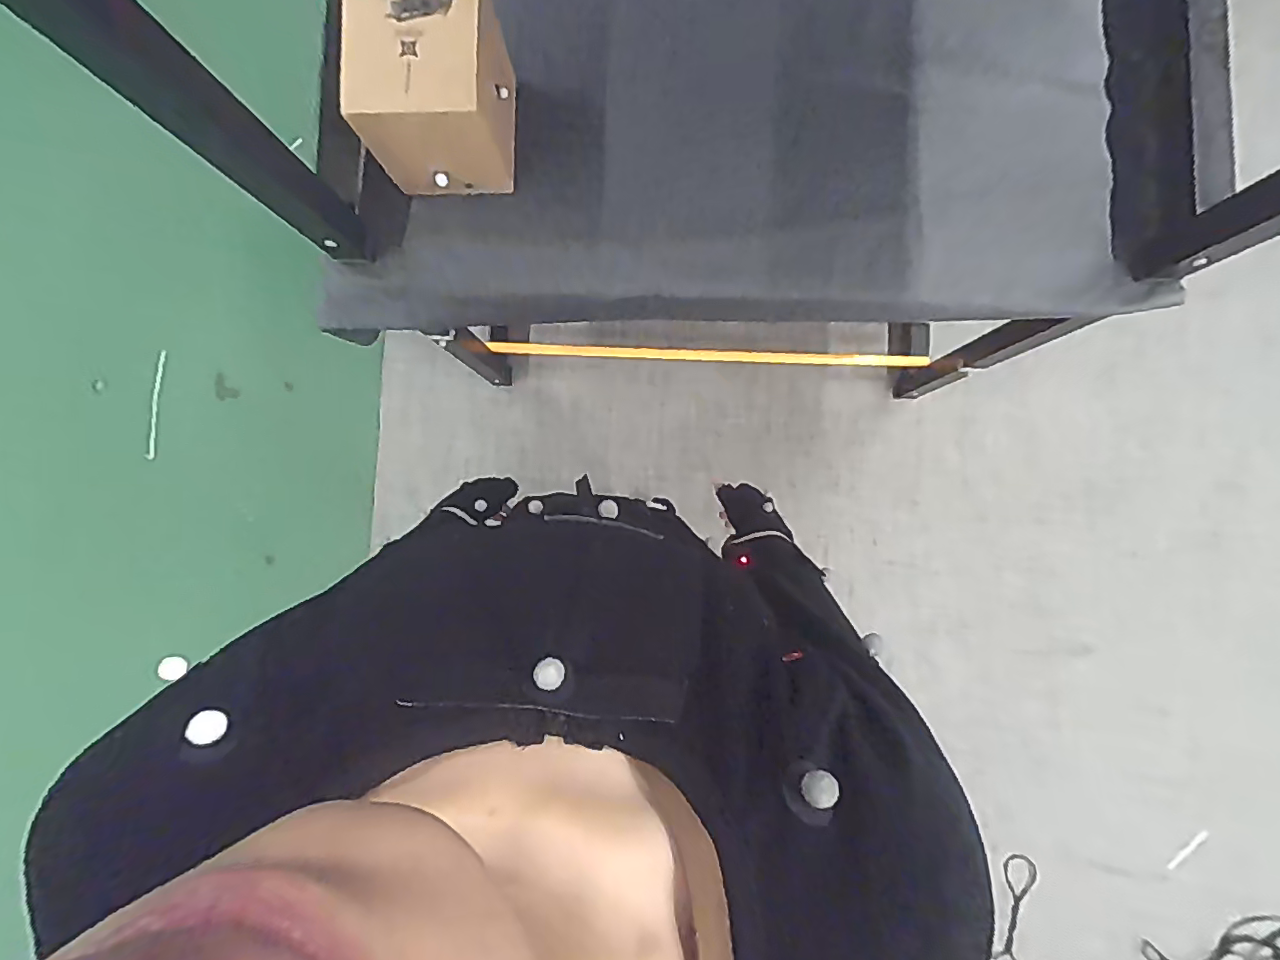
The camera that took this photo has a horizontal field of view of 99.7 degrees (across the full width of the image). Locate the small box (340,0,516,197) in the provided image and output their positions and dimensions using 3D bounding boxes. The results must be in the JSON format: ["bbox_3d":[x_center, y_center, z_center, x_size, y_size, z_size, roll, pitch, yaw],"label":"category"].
[{"bbox_3d":[-0.267,-0.507,0.716,0.168,0.176,0.179,0,87,2],"label":"small box"}]
